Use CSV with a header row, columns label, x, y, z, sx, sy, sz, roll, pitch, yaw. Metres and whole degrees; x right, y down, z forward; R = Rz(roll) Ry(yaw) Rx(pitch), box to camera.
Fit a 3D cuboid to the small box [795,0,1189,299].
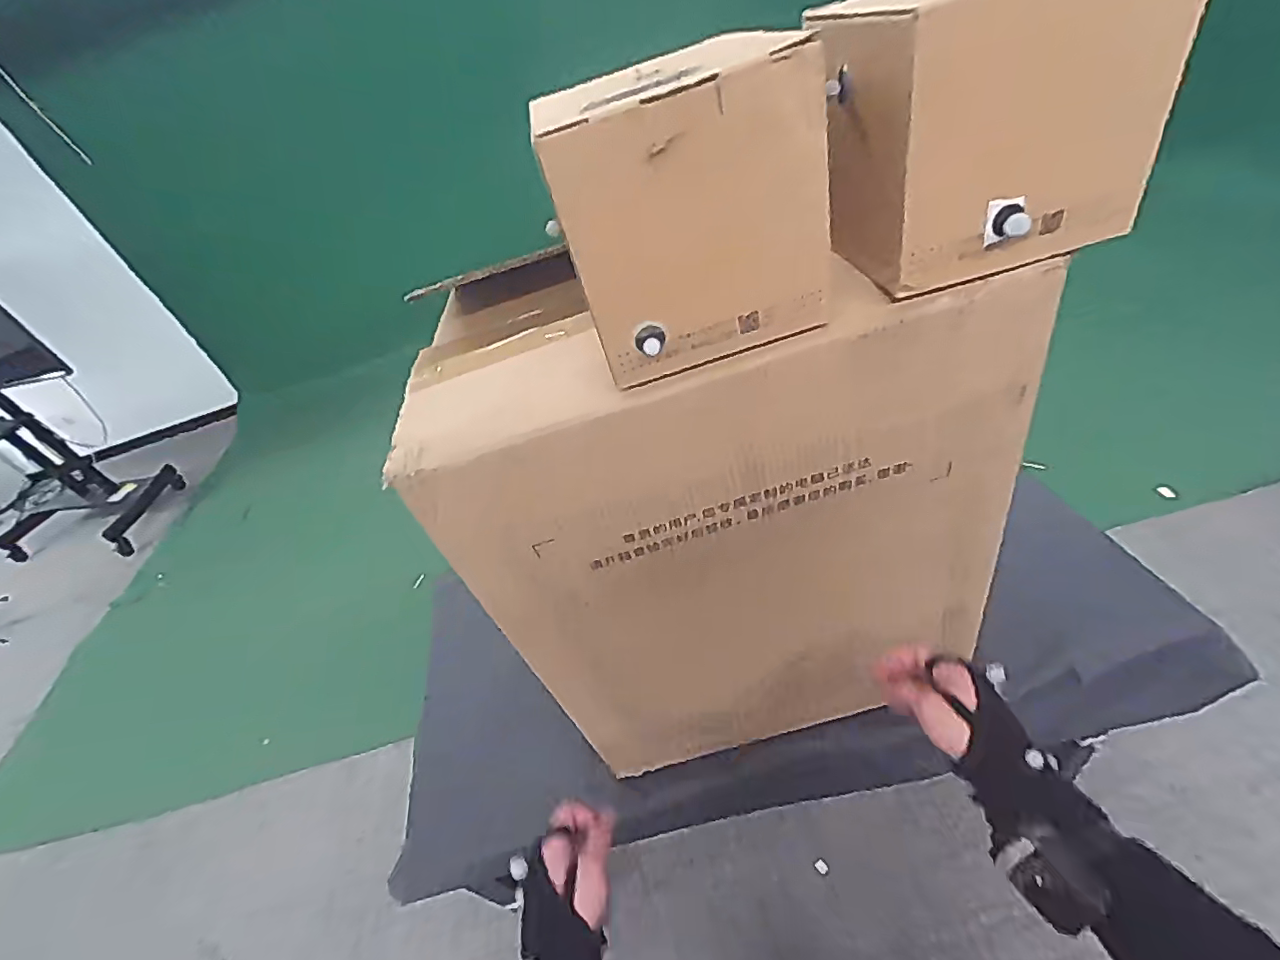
label,x,y,z,sx,sy,sz,roll,pitch,yaw
small box,0.229,-0.260,0.403,0.168,0.176,0.179,-18,41,3
